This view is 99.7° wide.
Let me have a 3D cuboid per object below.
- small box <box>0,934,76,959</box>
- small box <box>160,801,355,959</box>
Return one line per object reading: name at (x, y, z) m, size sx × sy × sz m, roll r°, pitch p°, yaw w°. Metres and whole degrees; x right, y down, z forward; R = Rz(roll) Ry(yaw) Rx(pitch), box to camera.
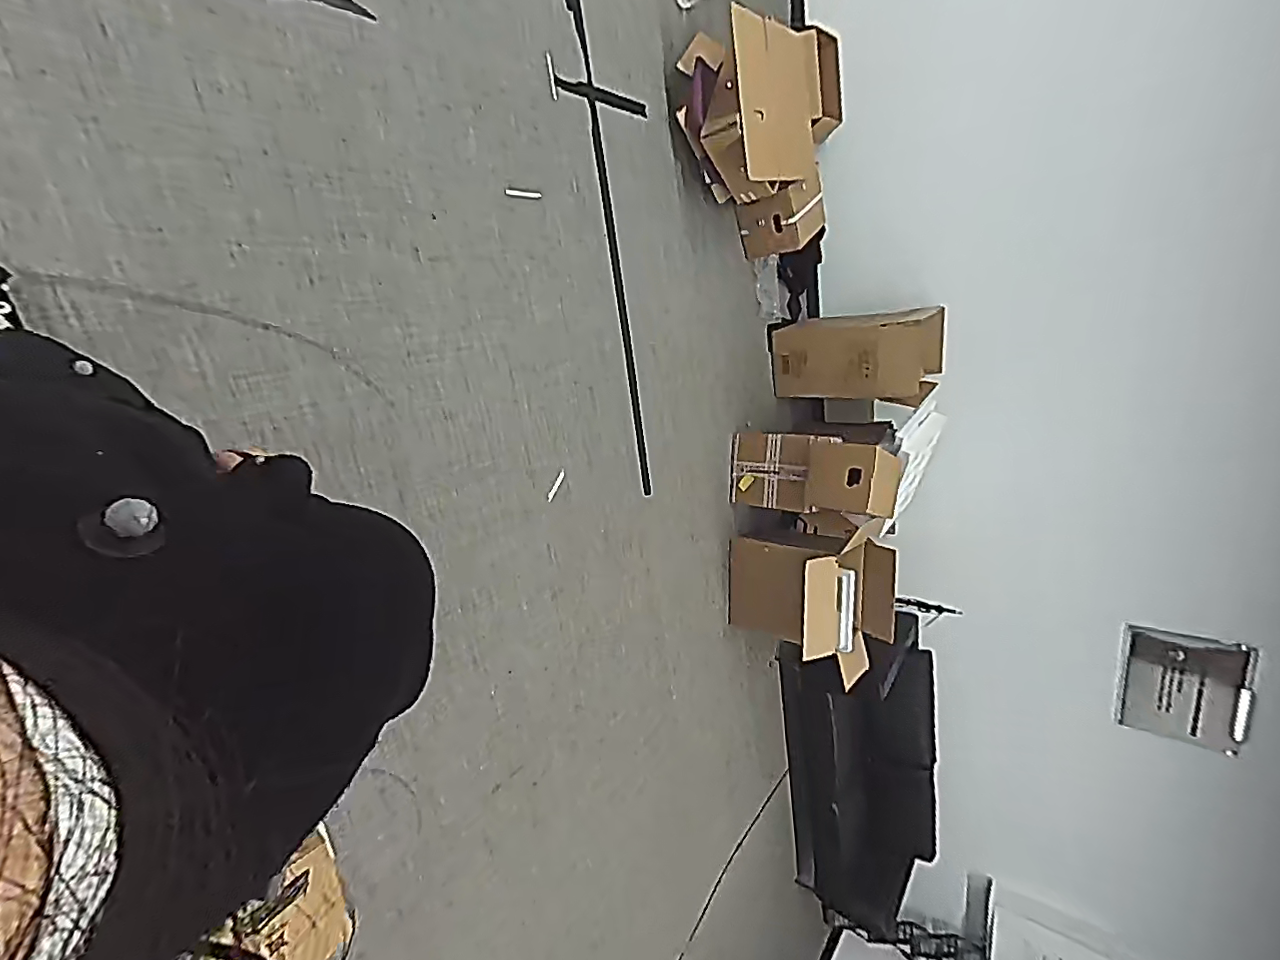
small box at (-0.697, 0.656, 0.579) m, size 0.168 × 0.176 × 0.179 m, roll -24°, pitch 111°, yaw -48°
small box at (-0.538, 0.593, 0.763) m, size 0.168 × 0.176 × 0.179 m, roll -21°, pitch 111°, yaw -47°
